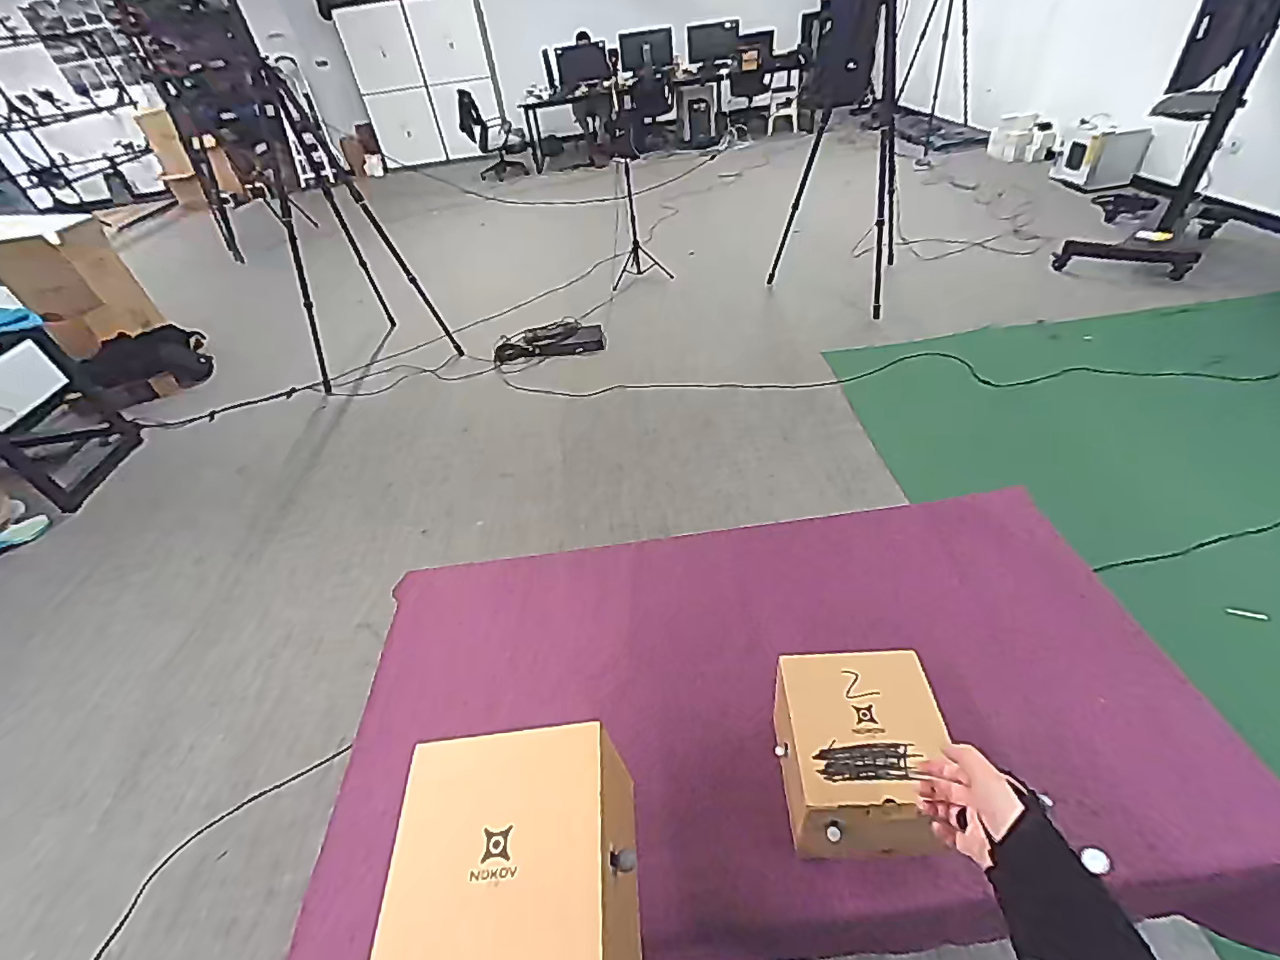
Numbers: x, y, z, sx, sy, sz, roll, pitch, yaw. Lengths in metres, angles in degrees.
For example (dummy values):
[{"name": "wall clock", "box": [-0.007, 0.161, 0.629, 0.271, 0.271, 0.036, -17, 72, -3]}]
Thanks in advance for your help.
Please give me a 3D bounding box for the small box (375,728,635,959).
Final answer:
[{"name": "small box", "box": [-0.099, 0.344, 0.477, 0.168, 0.176, 0.179, -9, 47, 3]}]
